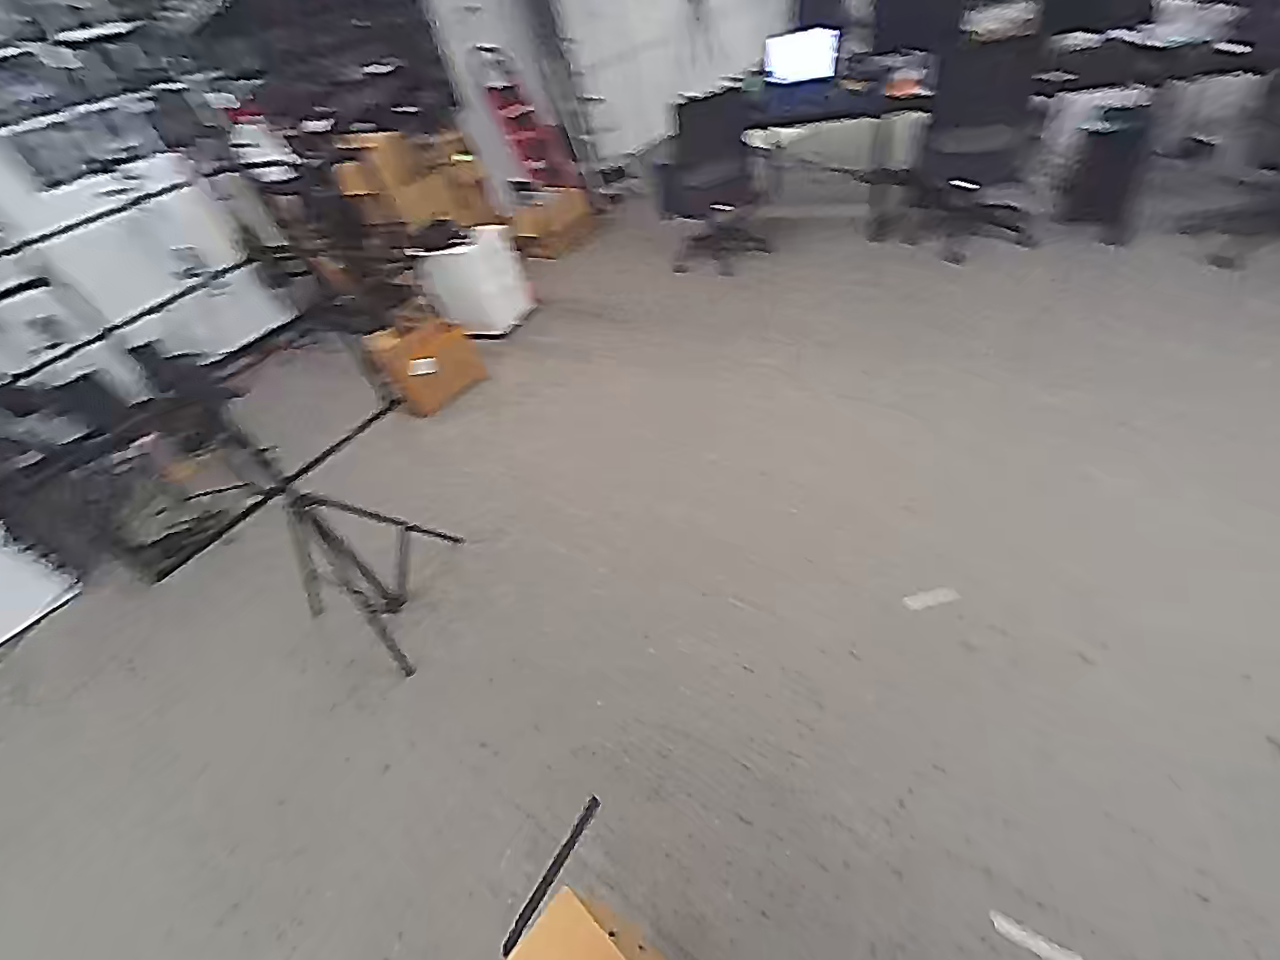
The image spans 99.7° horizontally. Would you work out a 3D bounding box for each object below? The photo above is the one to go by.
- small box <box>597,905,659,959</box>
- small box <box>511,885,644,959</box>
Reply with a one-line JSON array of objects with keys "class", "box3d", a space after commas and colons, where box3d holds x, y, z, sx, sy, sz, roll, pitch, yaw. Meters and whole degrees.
[{"class": "small box", "box3d": [-0.043, 0.895, 0.937, 0.179, 0.176, 0.168, 23, 55, 38]}, {"class": "small box", "box3d": [-0.087, 0.781, 0.829, 0.179, 0.176, 0.168, 23, 56, 37]}]
